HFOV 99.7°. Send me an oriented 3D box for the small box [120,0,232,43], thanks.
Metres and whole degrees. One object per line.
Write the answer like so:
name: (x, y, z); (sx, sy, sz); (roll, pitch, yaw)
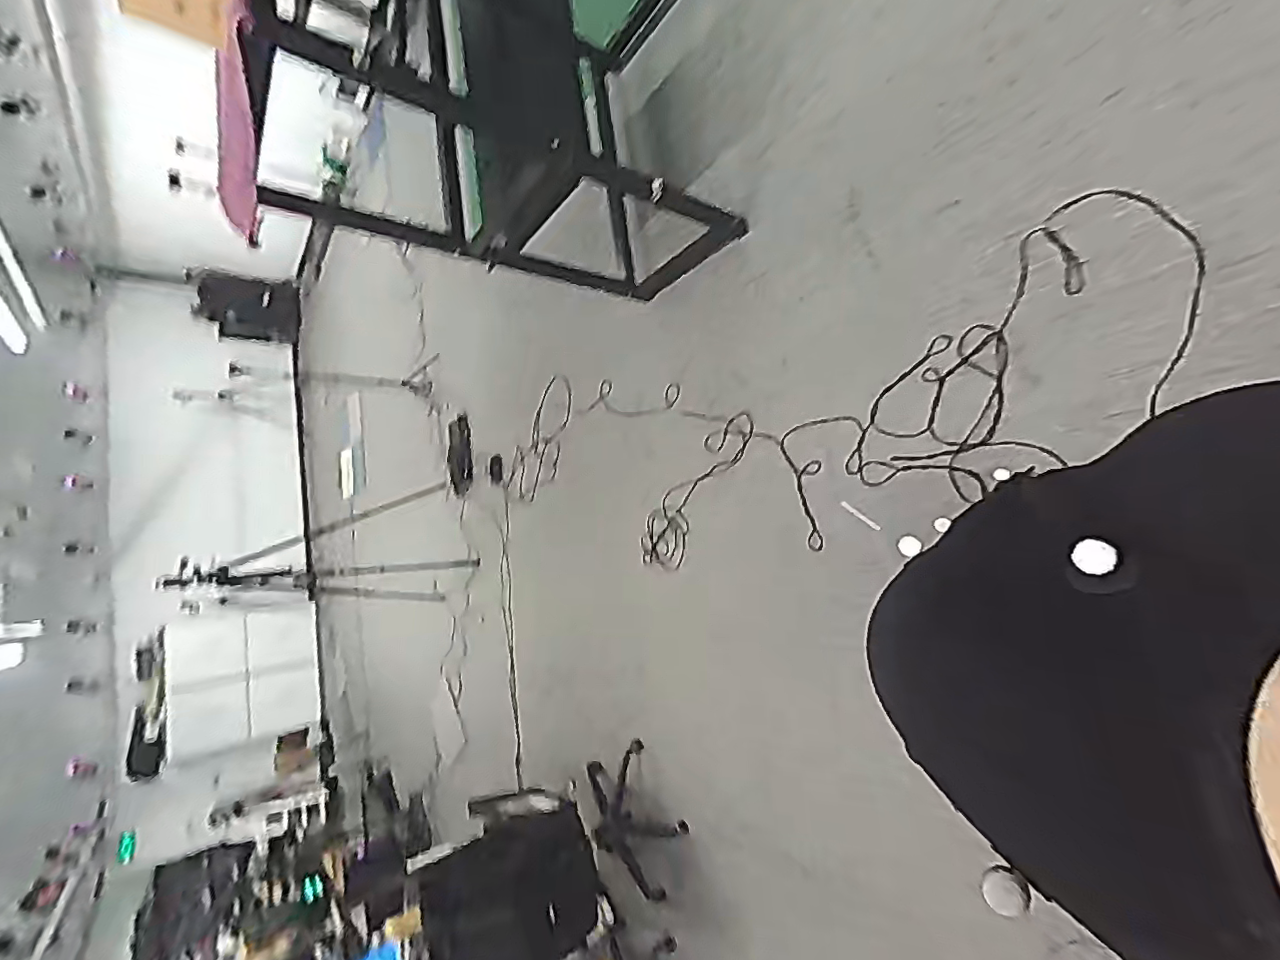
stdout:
small box: (-0.900, -1.002, 1.048); (0.168, 0.176, 0.179); (-17, 78, 48)
